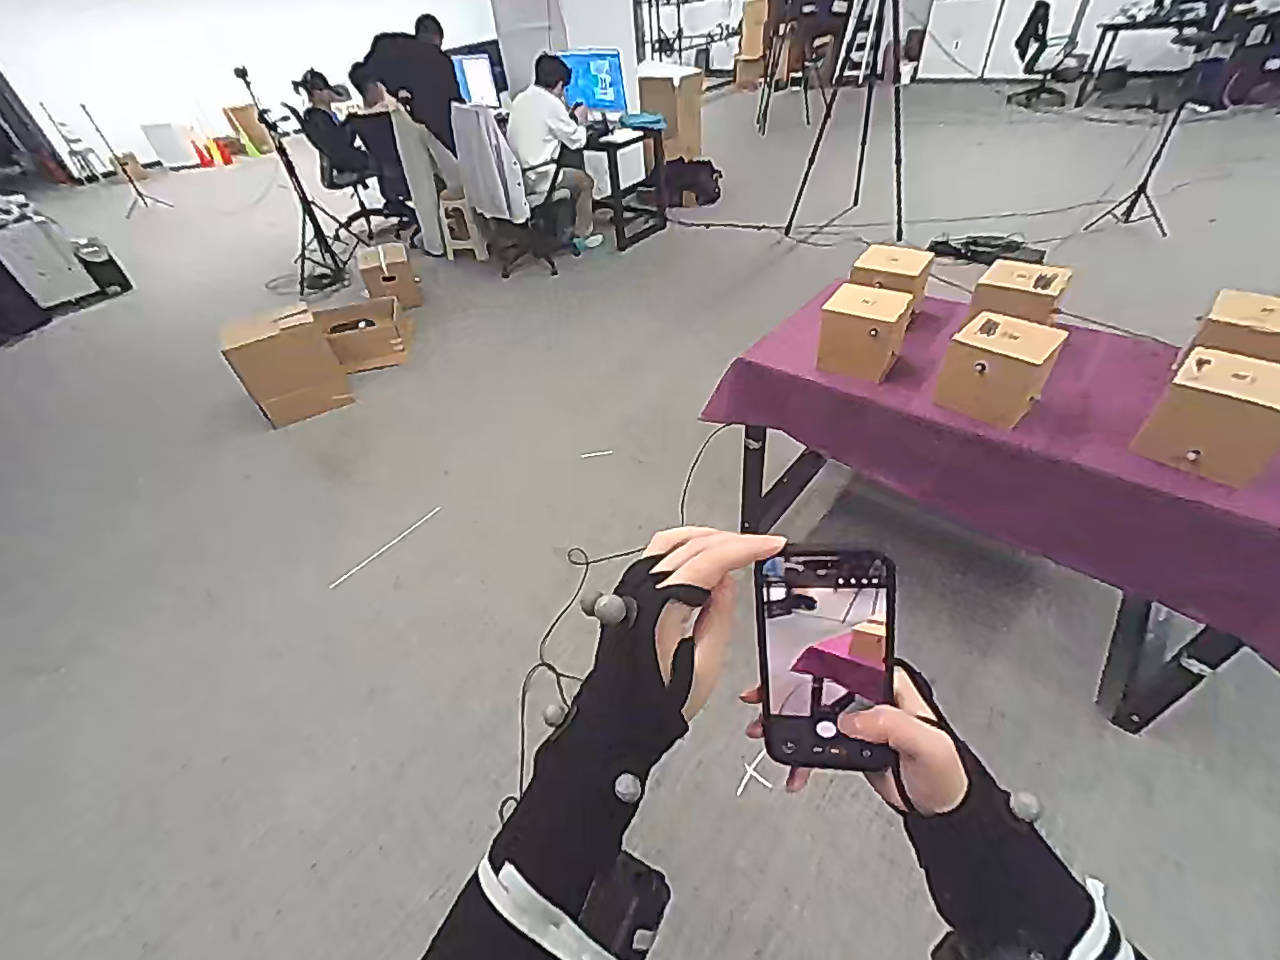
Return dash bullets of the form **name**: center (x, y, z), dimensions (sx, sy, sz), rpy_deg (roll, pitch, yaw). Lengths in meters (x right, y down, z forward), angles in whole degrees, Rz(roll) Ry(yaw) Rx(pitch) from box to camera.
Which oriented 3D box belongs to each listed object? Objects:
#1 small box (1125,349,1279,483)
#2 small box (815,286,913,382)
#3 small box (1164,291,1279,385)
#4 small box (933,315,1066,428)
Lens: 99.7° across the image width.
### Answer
- **small box**: center (1.094, -0.118, 1.032), dimensions (0.168, 0.176, 0.179), rpy_deg (-34, 49, -27)
- **small box**: center (0.564, -0.371, 1.380), dimensions (0.179, 0.176, 0.168), rpy_deg (23, 49, 27)
- **small box**: center (1.309, -0.287, 1.187), dimensions (0.168, 0.176, 0.179), rpy_deg (30, 54, 34)
- **small box**: center (0.792, -0.242, 1.208), dimensions (0.168, 0.176, 0.179), rpy_deg (-35, 50, -28)
